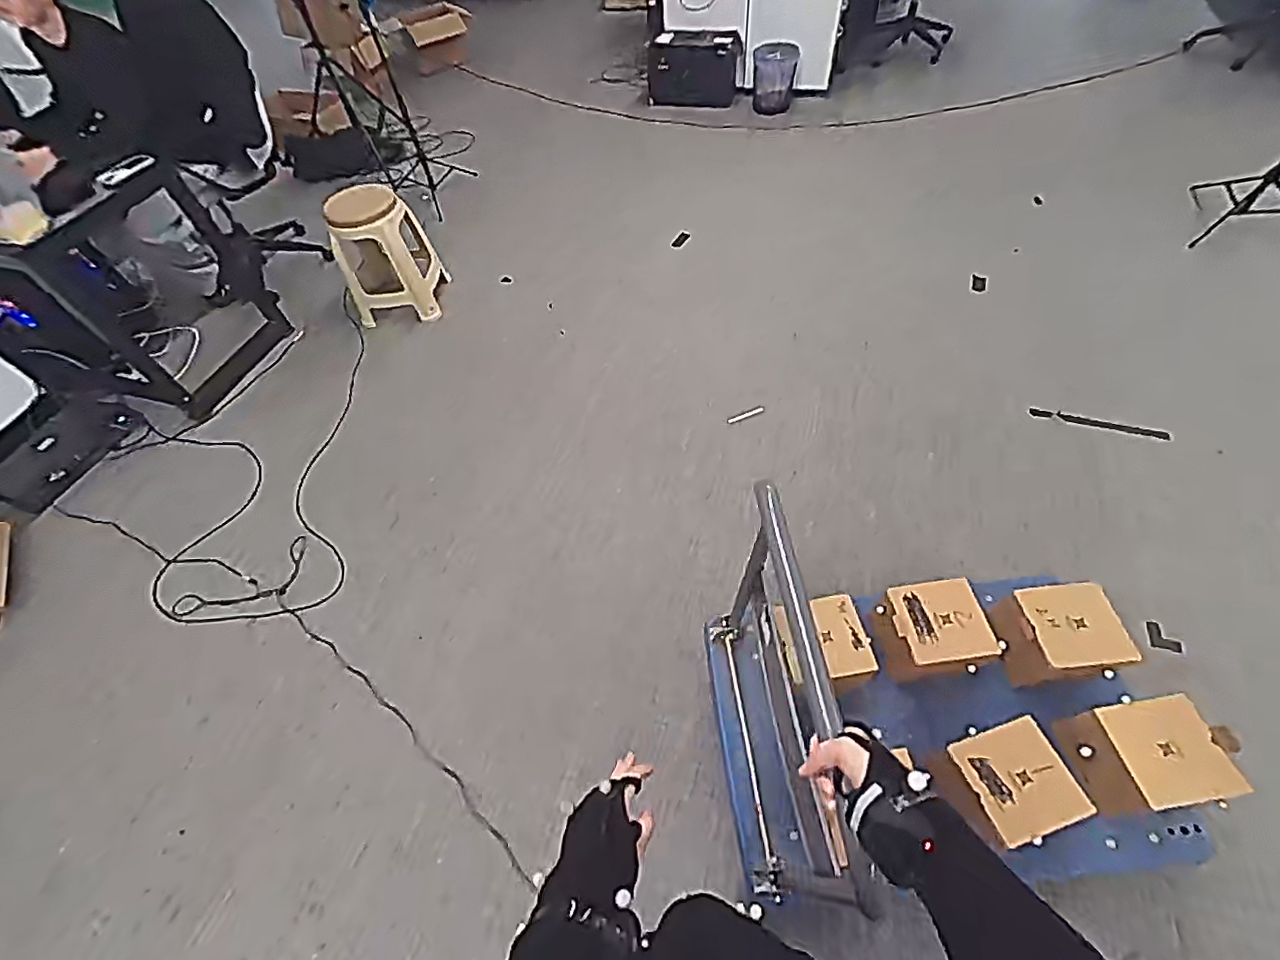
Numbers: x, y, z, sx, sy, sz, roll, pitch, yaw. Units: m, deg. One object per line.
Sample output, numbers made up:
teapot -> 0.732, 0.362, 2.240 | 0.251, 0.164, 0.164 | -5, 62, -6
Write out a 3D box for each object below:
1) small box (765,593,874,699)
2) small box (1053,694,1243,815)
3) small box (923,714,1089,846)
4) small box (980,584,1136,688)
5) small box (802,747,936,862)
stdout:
small box -> 0.380, 0.369, 1.185 | 0.179, 0.176, 0.168 | -10, 56, -1
small box -> 0.935, 0.523, 1.024 | 0.179, 0.176, 0.168 | -9, 54, -1
small box -> 0.666, 0.569, 1.017 | 0.179, 0.176, 0.168 | -16, 55, -7
small box -> 0.877, 0.338, 1.157 | 0.179, 0.176, 0.168 | -6, 54, 3
small box -> 0.412, 0.611, 1.014 | 0.179, 0.176, 0.168 | -6, 55, 1
